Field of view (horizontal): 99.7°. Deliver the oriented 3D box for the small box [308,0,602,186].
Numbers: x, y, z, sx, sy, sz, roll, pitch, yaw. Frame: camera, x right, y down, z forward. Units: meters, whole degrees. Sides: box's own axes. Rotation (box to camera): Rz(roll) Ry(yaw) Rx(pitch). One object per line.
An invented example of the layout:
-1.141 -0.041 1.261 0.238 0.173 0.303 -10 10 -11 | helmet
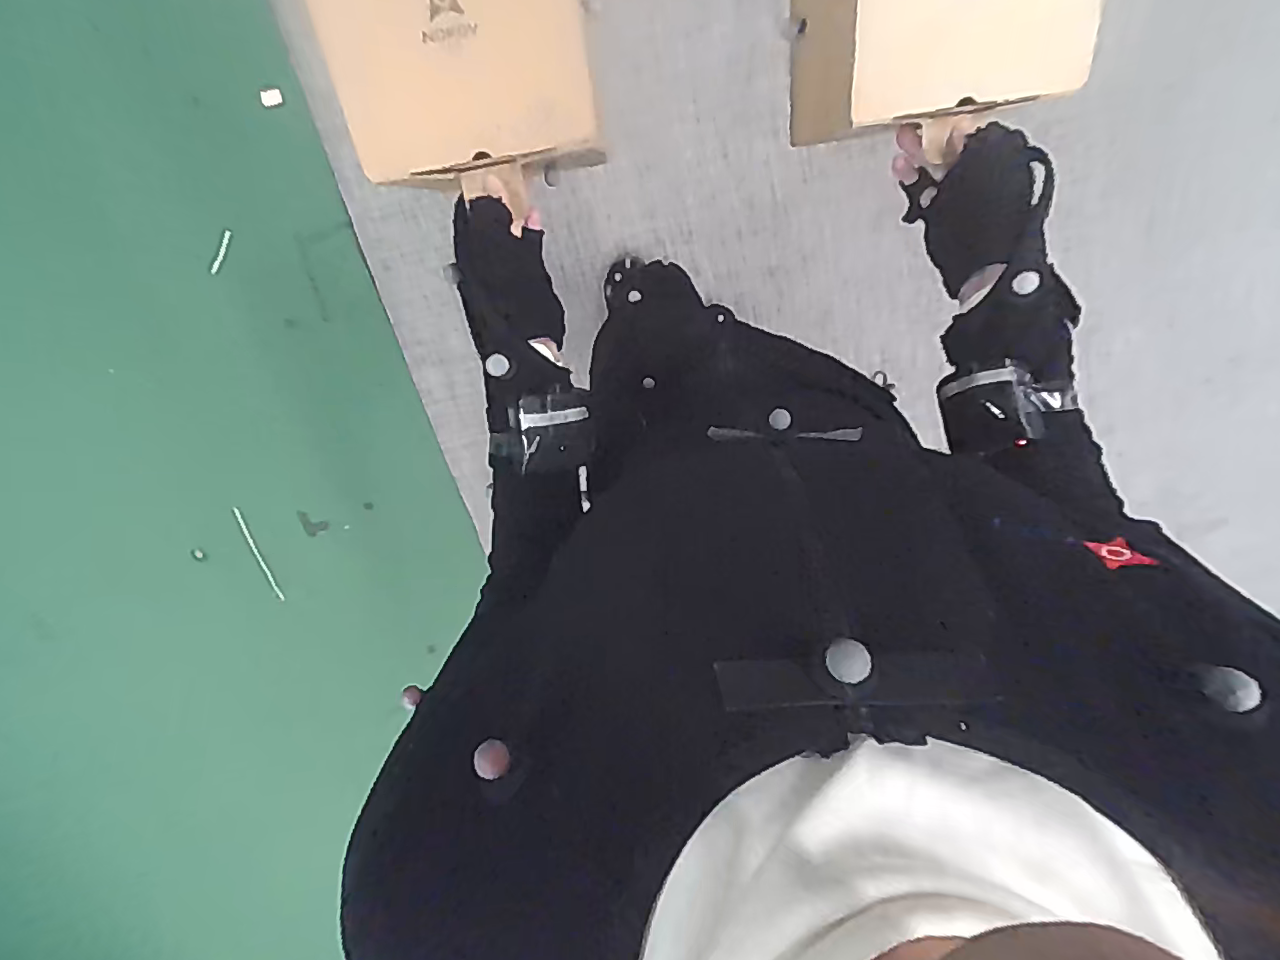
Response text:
-0.126 -0.334 0.413 0.168 0.176 0.179 -9 116 3 | small box
